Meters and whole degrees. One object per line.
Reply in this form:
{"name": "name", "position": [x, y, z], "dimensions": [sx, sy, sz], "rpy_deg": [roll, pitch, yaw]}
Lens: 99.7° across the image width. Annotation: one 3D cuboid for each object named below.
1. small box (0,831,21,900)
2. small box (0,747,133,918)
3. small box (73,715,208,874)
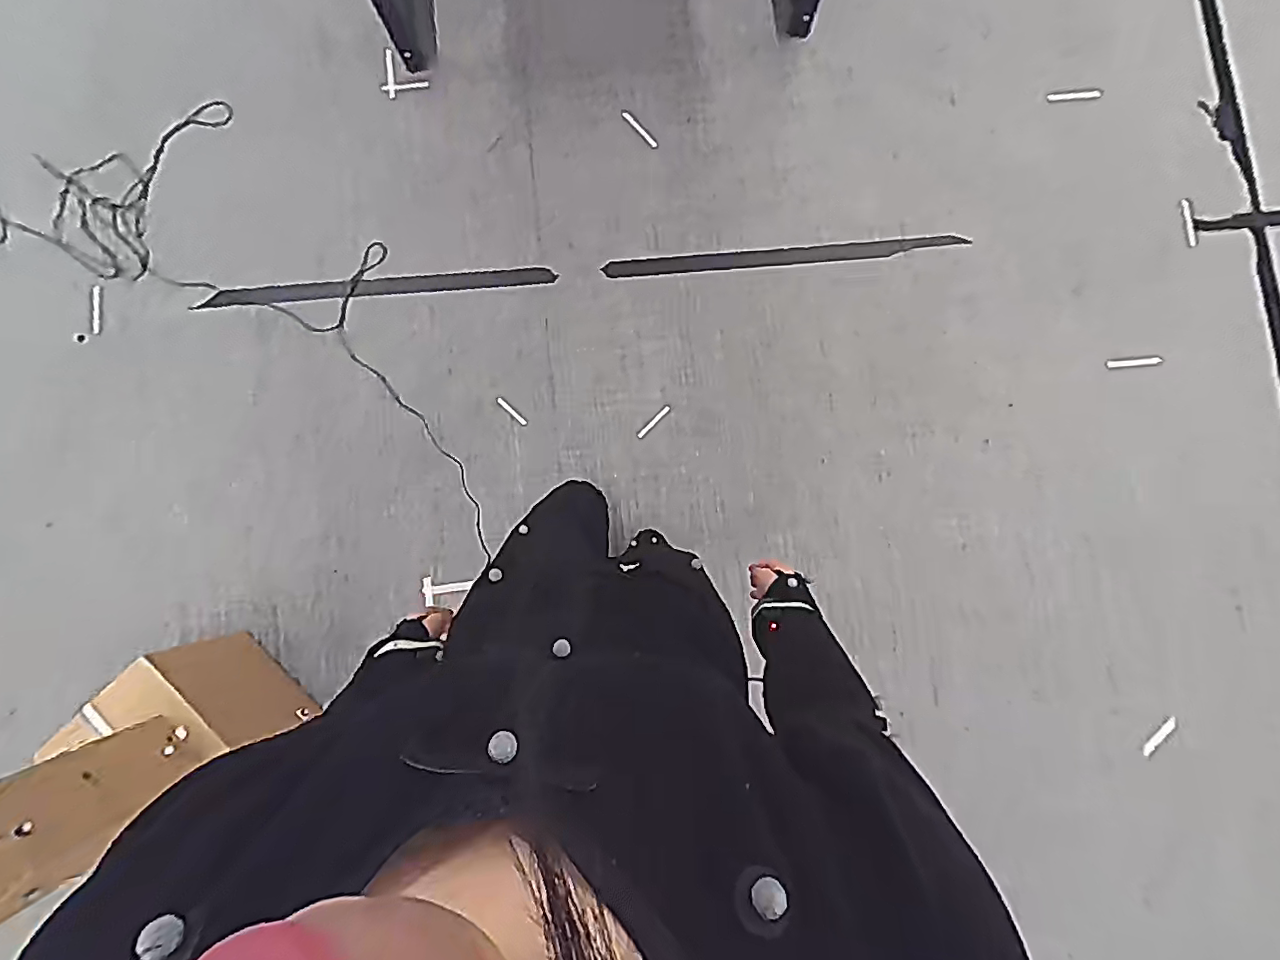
{"name": "small box", "position": [-1.023, 0.573, 0.733], "dimensions": [0.168, 0.176, 0.179], "rpy_deg": [43, 87, 4]}
{"name": "small box", "position": [-1.020, 0.591, 0.895], "dimensions": [0.168, 0.176, 0.179], "rpy_deg": [44, 88, 3]}
{"name": "small box", "position": [-1.017, 0.602, 1.058], "dimensions": [0.168, 0.176, 0.179], "rpy_deg": [44, 86, 4]}
